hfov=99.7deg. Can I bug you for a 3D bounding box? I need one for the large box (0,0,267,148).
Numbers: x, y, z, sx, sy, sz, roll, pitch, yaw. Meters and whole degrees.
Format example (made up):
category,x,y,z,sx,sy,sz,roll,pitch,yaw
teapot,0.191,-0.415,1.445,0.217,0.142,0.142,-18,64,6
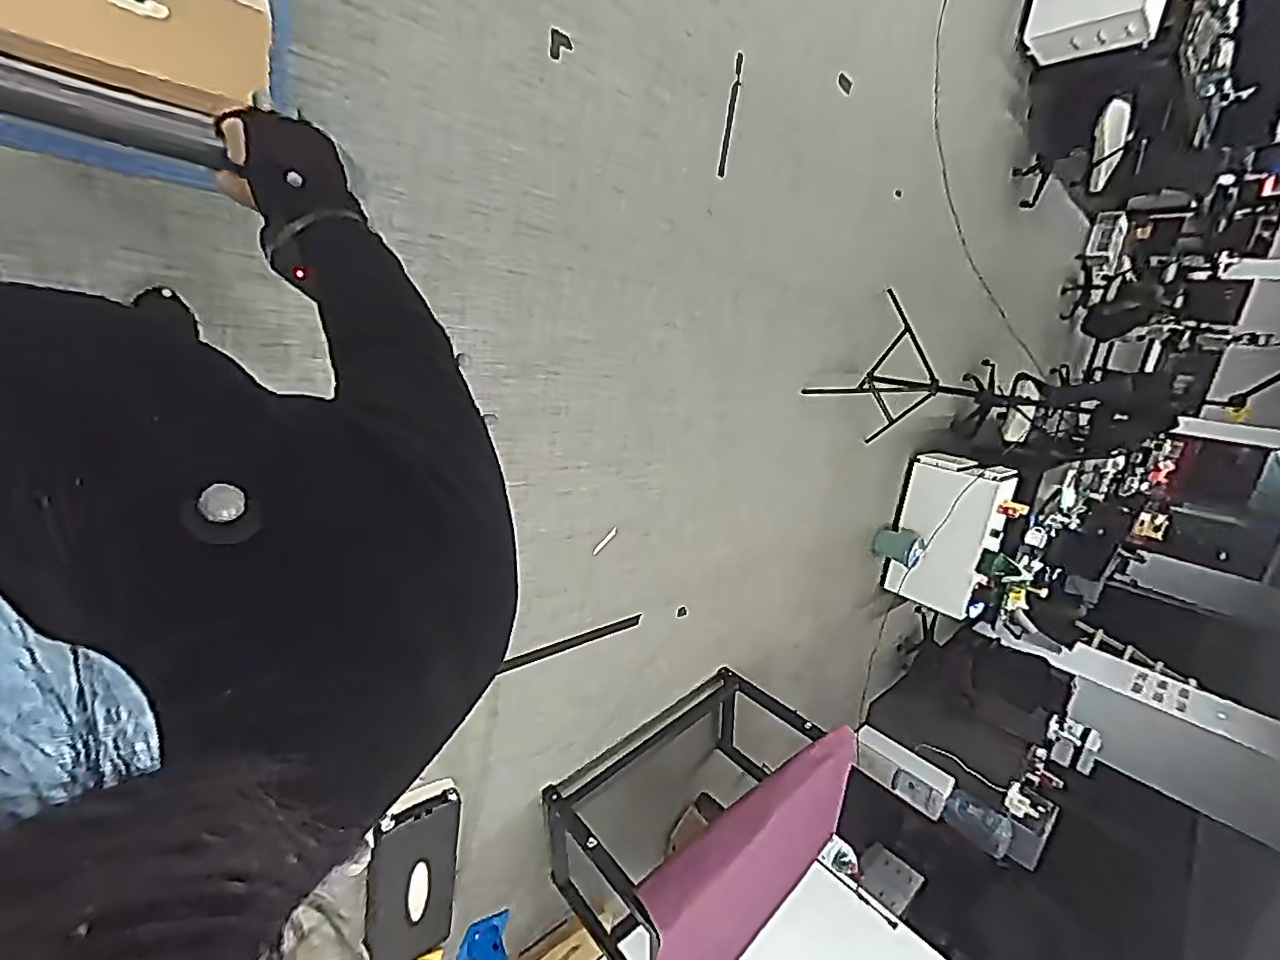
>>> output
category,x,y,z,sx,sy,sz,roll,pitch,yaw
large box,-0.772,-0.689,0.719,0.408,0.320,0.320,-6,113,-43
